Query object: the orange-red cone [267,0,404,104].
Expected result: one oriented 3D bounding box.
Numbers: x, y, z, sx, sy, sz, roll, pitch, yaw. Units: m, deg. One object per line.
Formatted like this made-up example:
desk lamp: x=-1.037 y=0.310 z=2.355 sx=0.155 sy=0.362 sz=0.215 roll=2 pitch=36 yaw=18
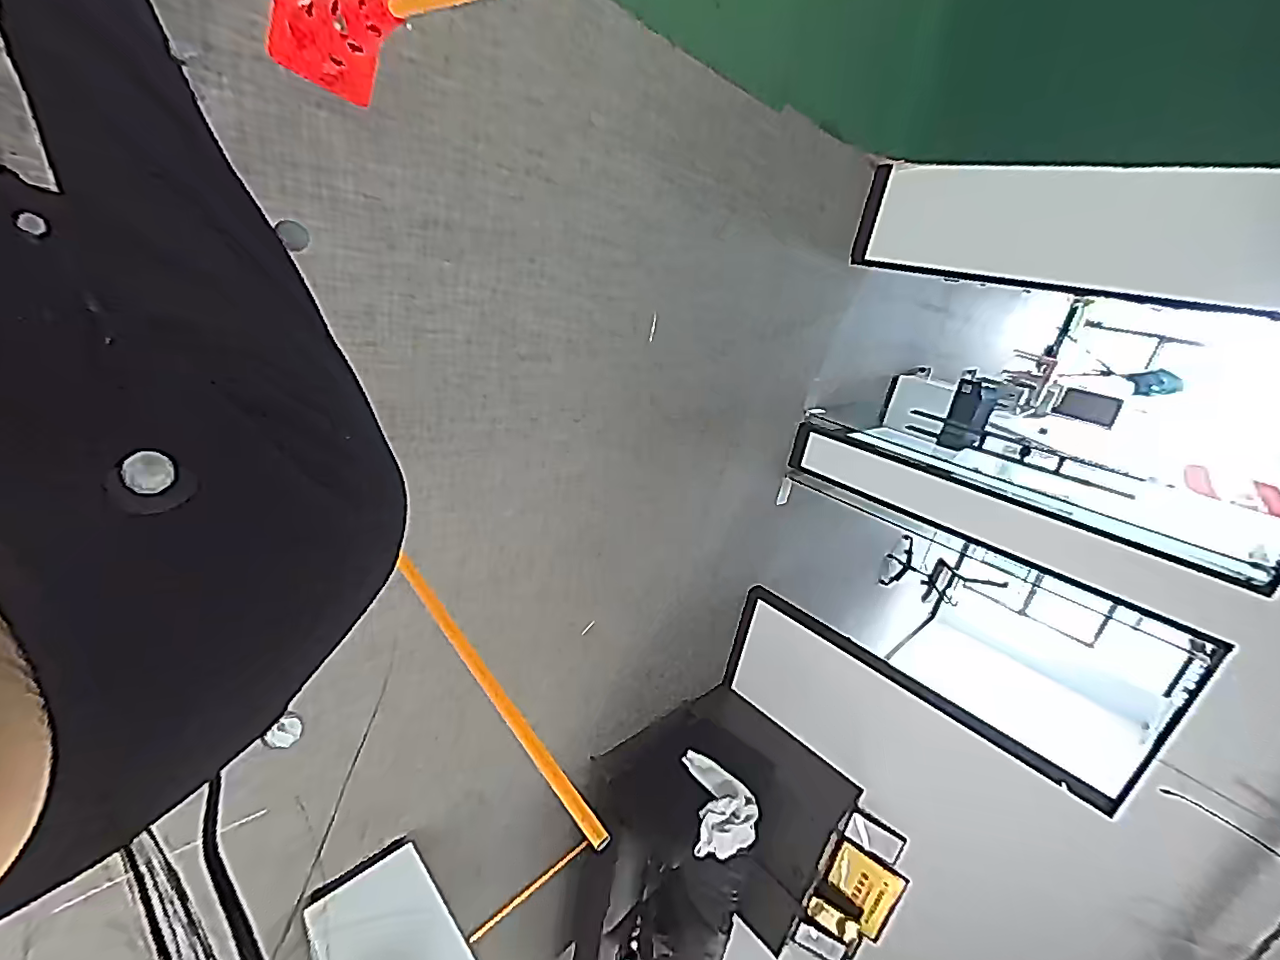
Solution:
orange-red cone: x=-0.534 y=-0.869 z=1.022 sx=0.198 sy=0.360 sz=0.199 roll=5 pitch=109 yaw=-49
